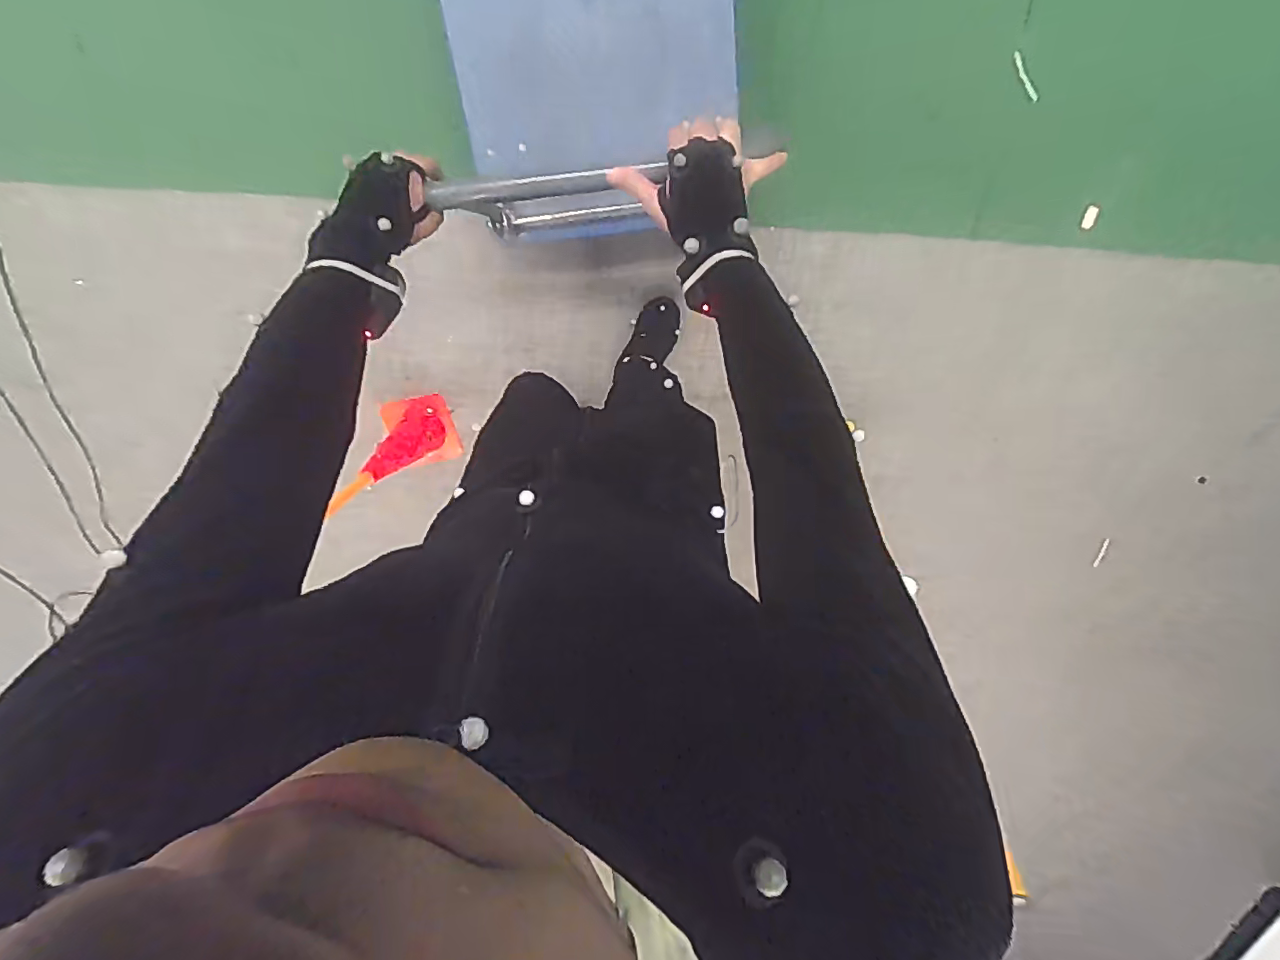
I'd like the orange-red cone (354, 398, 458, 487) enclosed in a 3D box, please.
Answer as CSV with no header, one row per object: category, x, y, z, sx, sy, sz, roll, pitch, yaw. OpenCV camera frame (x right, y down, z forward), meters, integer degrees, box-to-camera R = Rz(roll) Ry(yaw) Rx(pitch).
orange-red cone,-0.657,-0.070,1.441,0.199,0.360,0.198,-9,113,7
